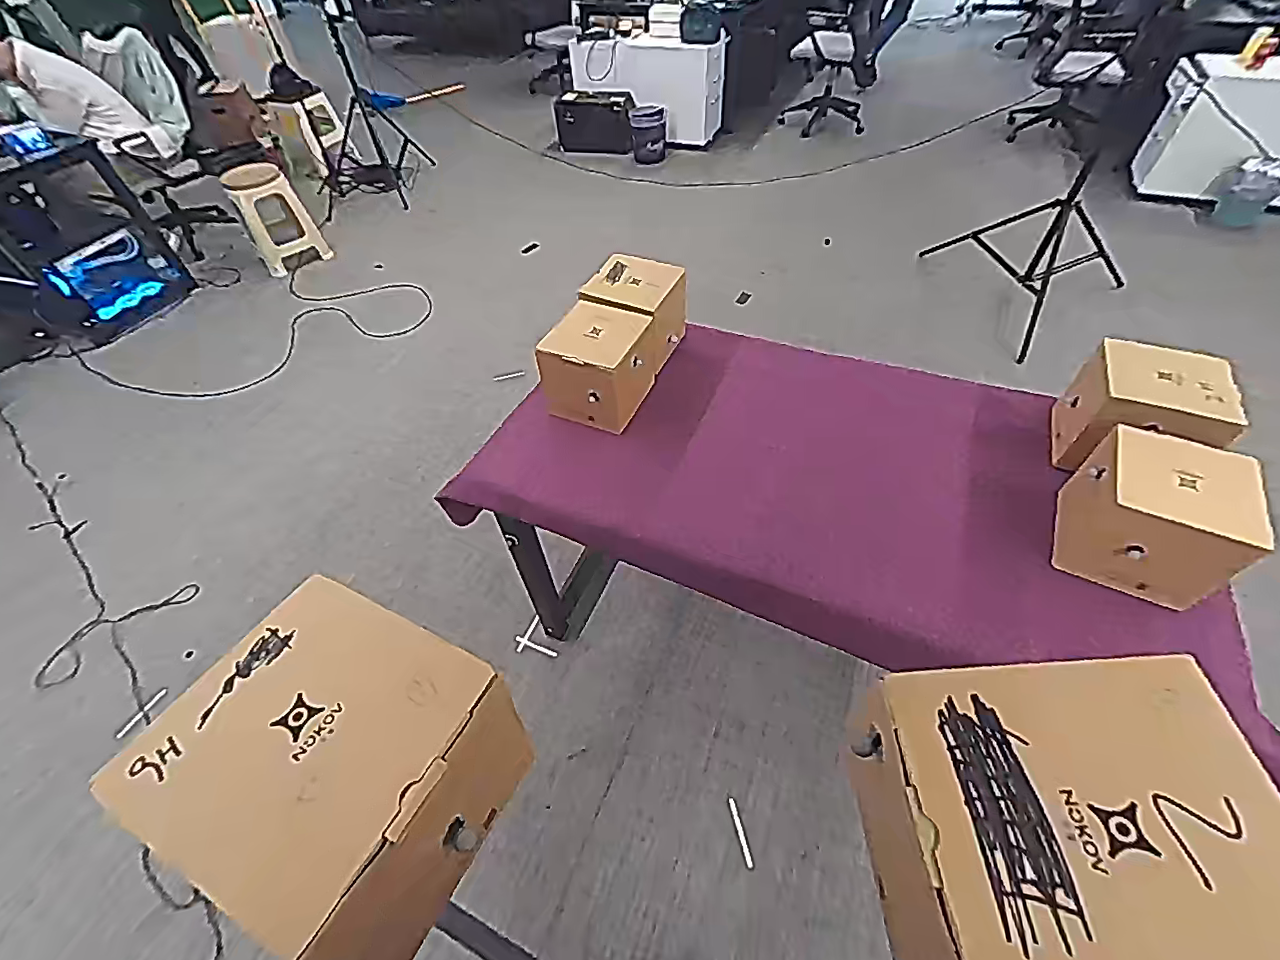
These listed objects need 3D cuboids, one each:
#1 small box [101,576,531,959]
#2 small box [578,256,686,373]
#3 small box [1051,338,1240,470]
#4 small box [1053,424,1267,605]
[{"bbox_3d":[-0.199,0.207,0.392,0.179,0.176,0.168,21,50,17],"label":"small box"},{"bbox_3d":[-0.012,-0.359,1.184,0.179,0.176,0.168,20,56,17],"label":"small box"},{"bbox_3d":[0.836,-0.110,0.919,0.179,0.176,0.168,19,55,17],"label":"small box"},{"bbox_3d":[0.744,0.053,0.797,0.168,0.176,0.179,21,53,21],"label":"small box"}]
